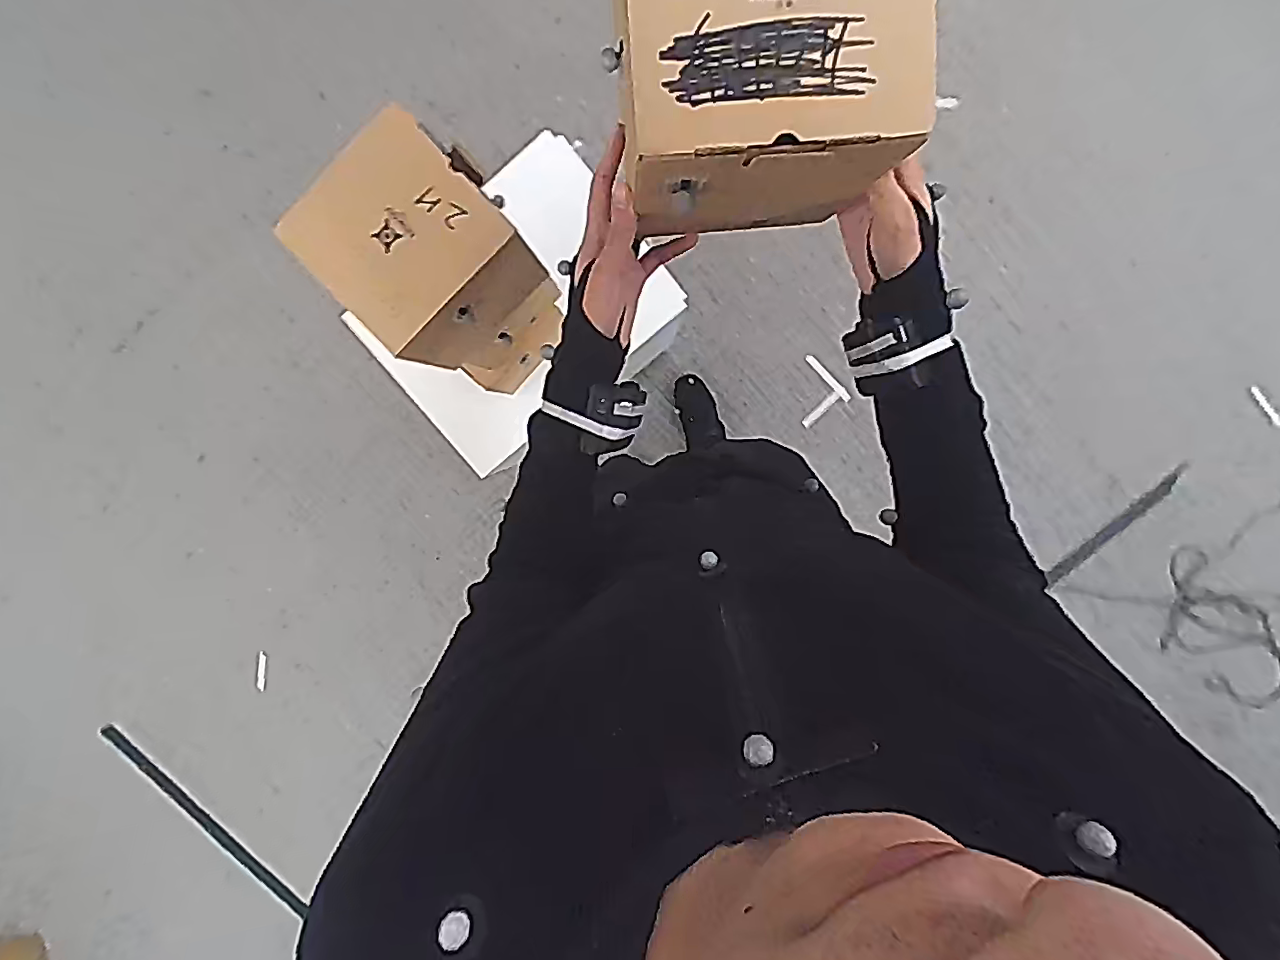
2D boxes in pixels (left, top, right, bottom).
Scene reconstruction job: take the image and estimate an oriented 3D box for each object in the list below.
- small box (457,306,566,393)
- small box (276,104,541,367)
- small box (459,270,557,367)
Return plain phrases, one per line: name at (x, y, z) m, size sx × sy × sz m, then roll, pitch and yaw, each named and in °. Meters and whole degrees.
small box at (-0.244, -0.264, 0.922) m, size 0.168 × 0.176 × 0.179 m, roll 42°, pitch 95°, yaw -4°
small box at (-0.232, -0.244, 0.595) m, size 0.179 × 0.176 × 0.168 m, roll -44°, pitch 94°, yaw 5°
small box at (-0.238, -0.274, 0.758) m, size 0.179 × 0.176 × 0.168 m, roll 43°, pitch 95°, yaw -4°
